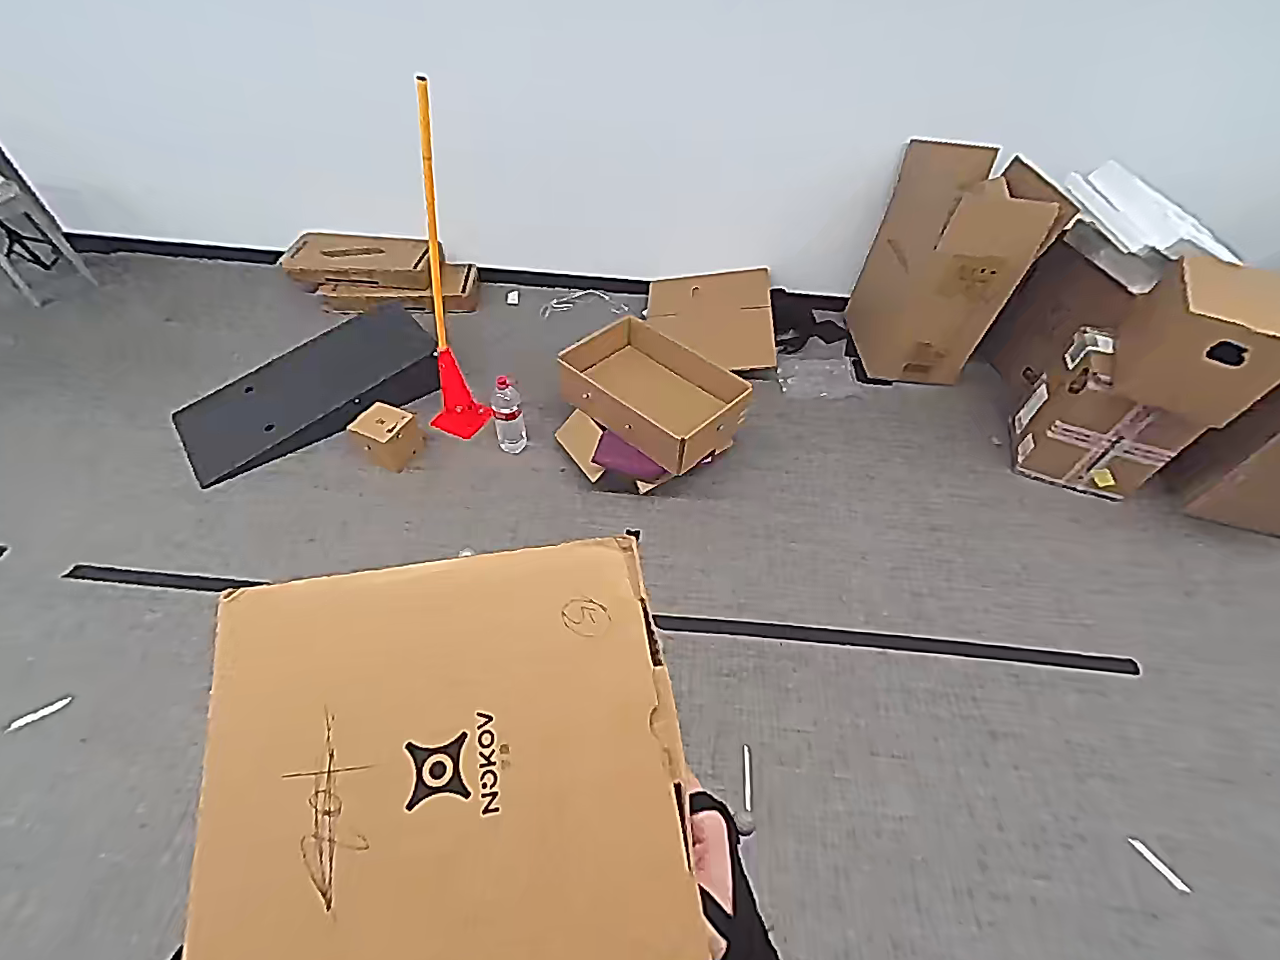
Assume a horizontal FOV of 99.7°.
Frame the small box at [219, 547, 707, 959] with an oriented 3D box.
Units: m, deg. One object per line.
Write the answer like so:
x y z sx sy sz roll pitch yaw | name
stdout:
-0.080 0.147 0.294 0.179 0.176 0.168 -8 67 -8 | small box
